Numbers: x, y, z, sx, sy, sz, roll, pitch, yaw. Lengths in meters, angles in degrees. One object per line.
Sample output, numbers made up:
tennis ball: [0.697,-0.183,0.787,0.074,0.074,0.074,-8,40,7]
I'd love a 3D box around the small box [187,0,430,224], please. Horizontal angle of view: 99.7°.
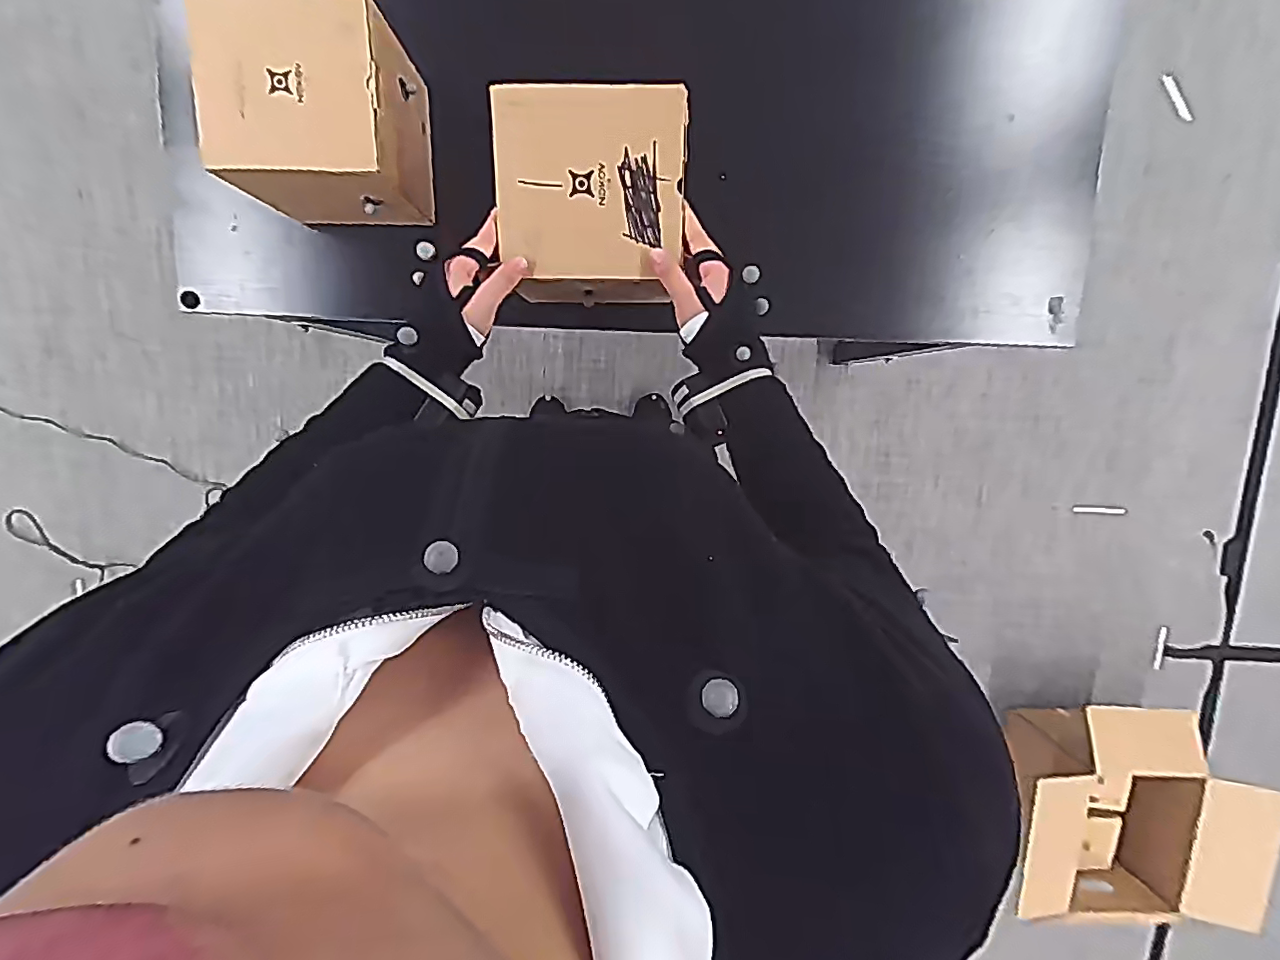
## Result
small box: [-0.349,-0.402,0.609,0.179,0.176,0.168,-1,98,-2]

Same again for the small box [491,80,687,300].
small box: [-0.048,-0.287,0.572,0.179,0.176,0.168,0,101,-1]
